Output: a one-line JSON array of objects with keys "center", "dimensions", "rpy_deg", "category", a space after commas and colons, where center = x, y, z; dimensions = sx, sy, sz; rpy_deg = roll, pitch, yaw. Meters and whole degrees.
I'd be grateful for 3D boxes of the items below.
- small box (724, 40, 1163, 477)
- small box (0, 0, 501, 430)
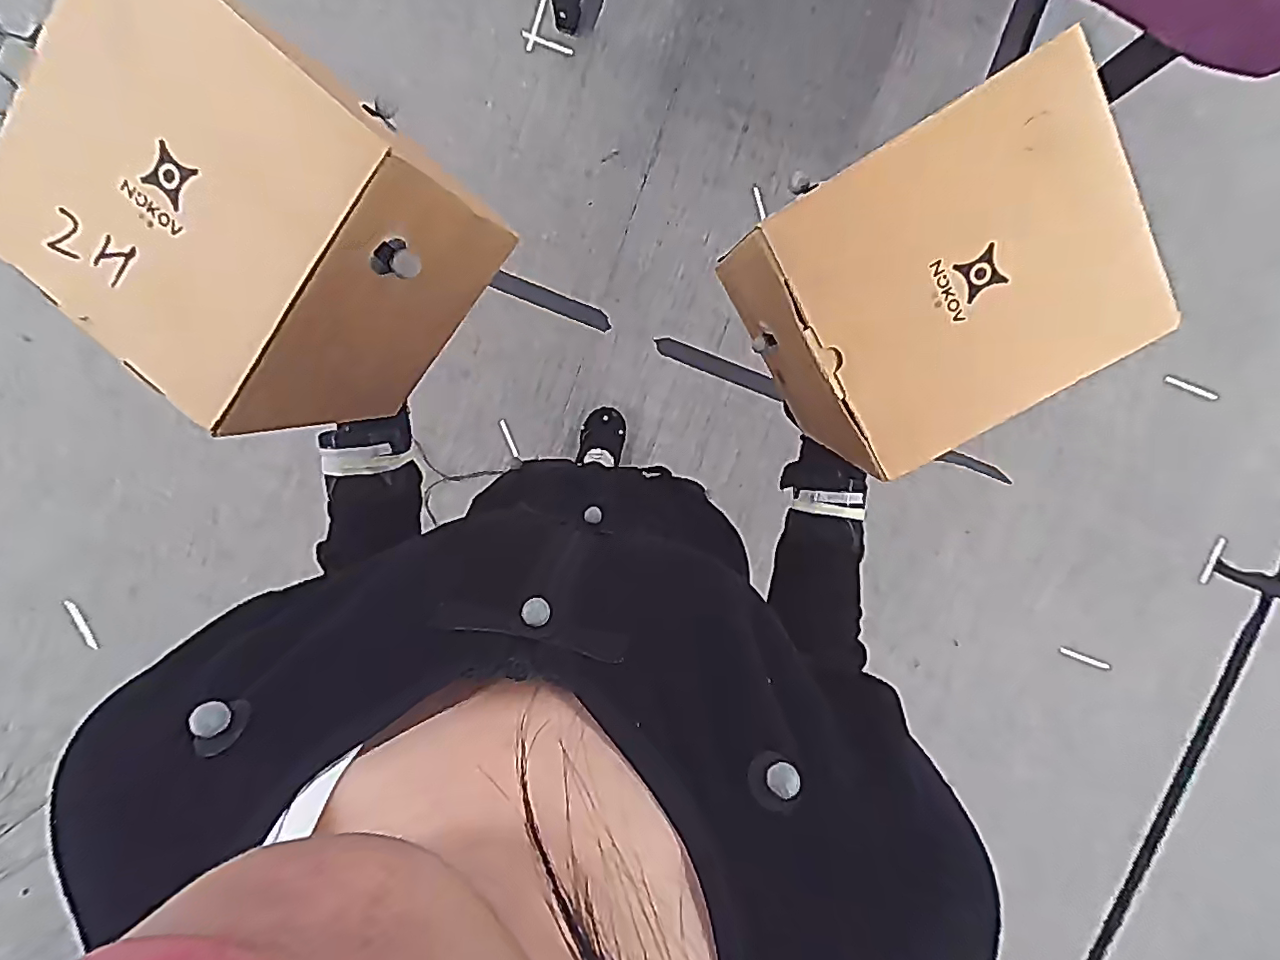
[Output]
[{"center": [0.178, -0.132, 0.371], "dimensions": [0.179, 0.176, 0.168], "rpy_deg": [-30, 103, 9], "category": "small box"}, {"center": [-0.211, -0.155, 0.339], "dimensions": [0.168, 0.176, 0.179], "rpy_deg": [41, 103, -1], "category": "small box"}]
